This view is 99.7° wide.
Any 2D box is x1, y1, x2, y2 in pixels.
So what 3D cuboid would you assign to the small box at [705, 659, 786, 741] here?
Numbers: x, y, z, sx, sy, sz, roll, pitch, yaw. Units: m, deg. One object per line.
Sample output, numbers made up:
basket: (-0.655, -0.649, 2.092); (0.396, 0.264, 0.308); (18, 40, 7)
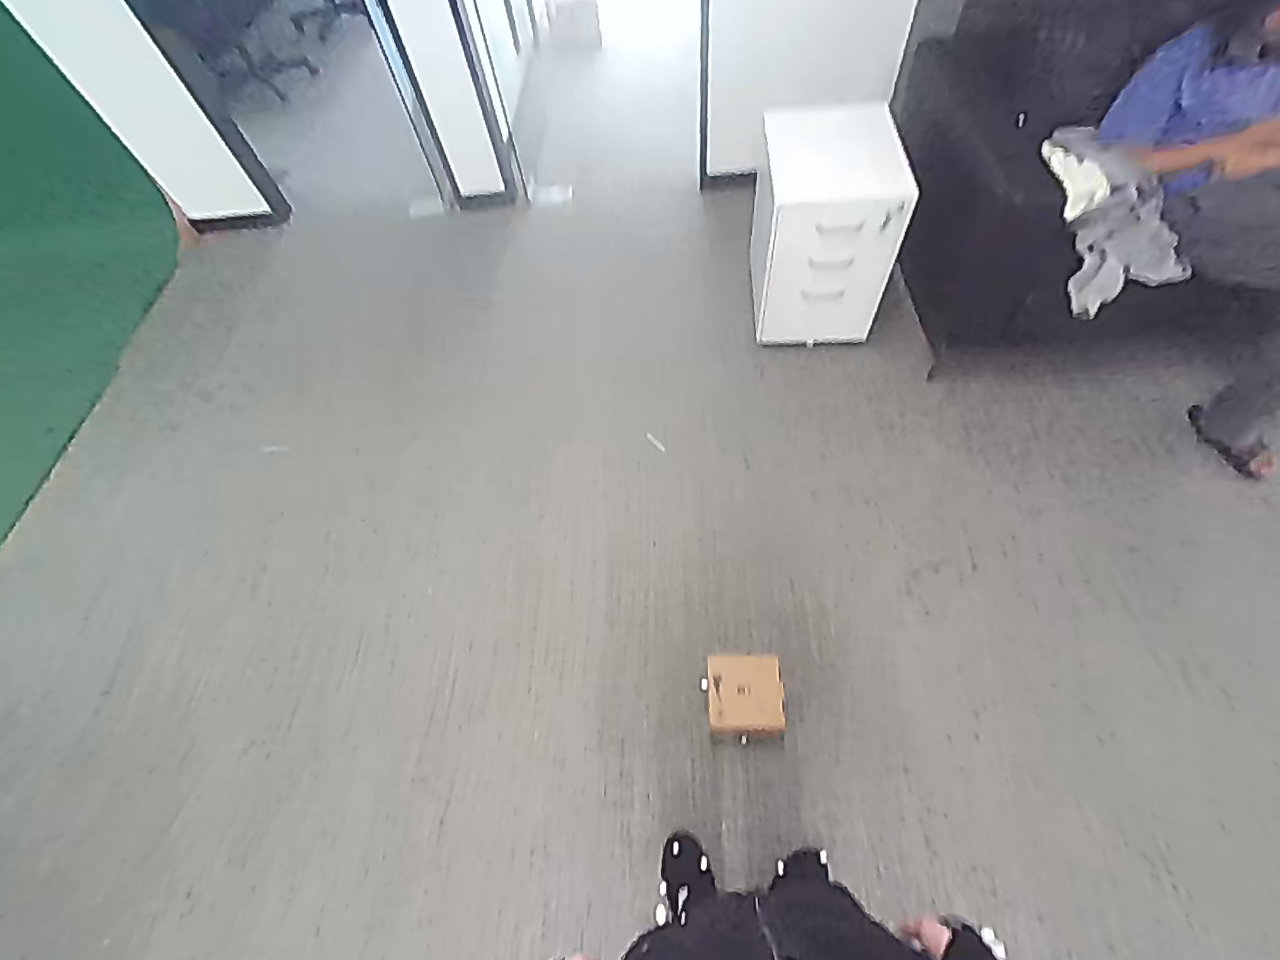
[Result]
small box: (0.257, 0.554, 1.357); (0.179, 0.176, 0.168); (-1, 57, 4)
